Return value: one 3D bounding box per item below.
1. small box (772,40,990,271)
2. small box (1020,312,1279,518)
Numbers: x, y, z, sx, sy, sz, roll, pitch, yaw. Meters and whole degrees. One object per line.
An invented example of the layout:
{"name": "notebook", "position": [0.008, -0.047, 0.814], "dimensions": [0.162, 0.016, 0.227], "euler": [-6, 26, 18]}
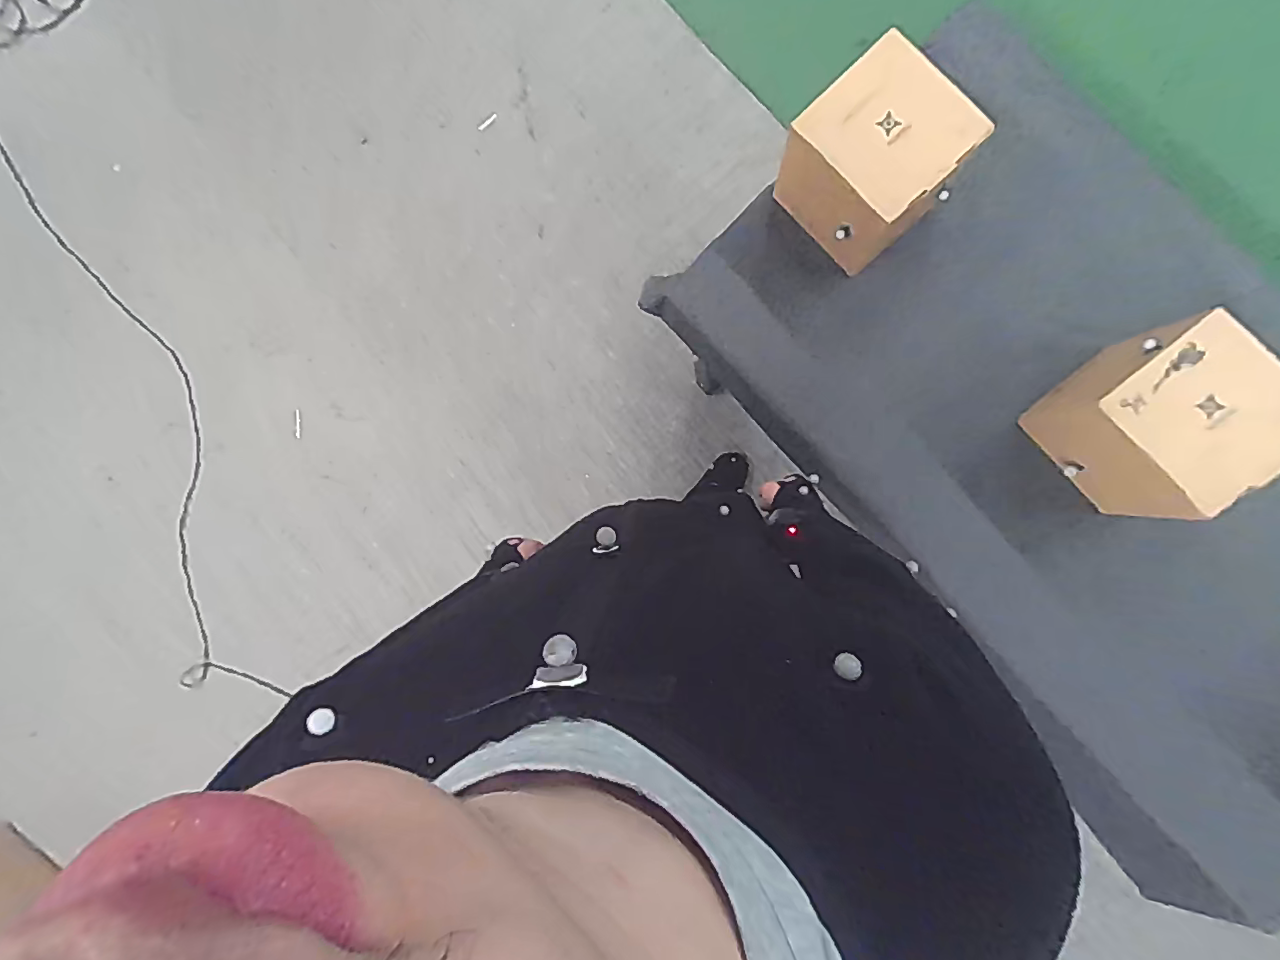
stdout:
{"name": "small box", "position": [0.303, -0.409, 0.722], "dimensions": [0.168, 0.176, 0.179], "euler": [-44, 85, 1]}
{"name": "small box", "position": [0.646, -0.074, 0.684], "dimensions": [0.168, 0.176, 0.179], "euler": [-42, 86, 3]}
